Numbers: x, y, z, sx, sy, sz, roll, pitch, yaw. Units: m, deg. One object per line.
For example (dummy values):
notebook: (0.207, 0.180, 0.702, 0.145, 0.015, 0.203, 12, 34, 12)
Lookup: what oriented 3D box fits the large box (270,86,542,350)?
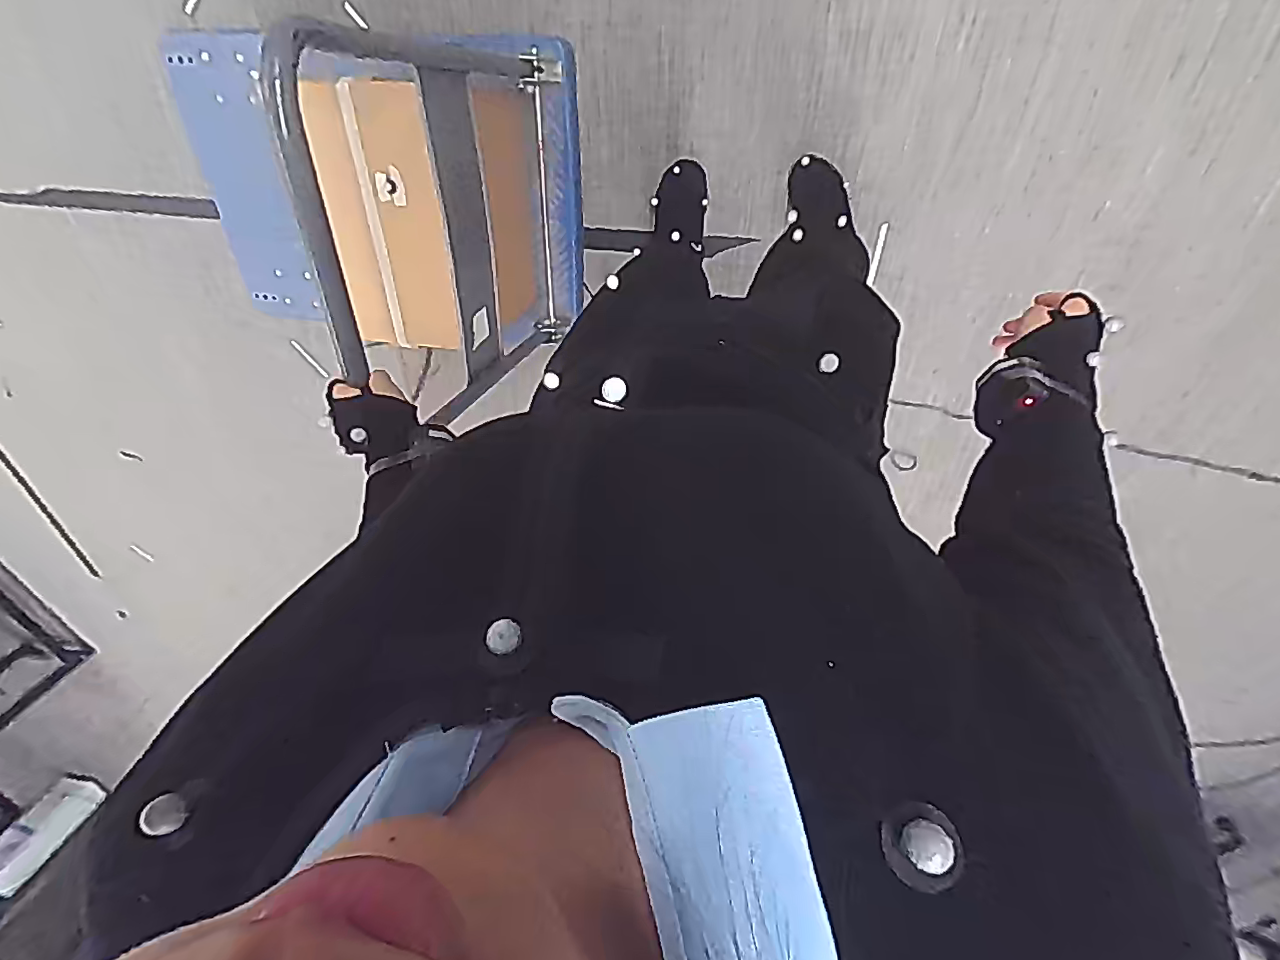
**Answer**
large box: (-0.399, -0.503, 1.044, 0.320, 0.320, 0.408, 8, 124, 8)
